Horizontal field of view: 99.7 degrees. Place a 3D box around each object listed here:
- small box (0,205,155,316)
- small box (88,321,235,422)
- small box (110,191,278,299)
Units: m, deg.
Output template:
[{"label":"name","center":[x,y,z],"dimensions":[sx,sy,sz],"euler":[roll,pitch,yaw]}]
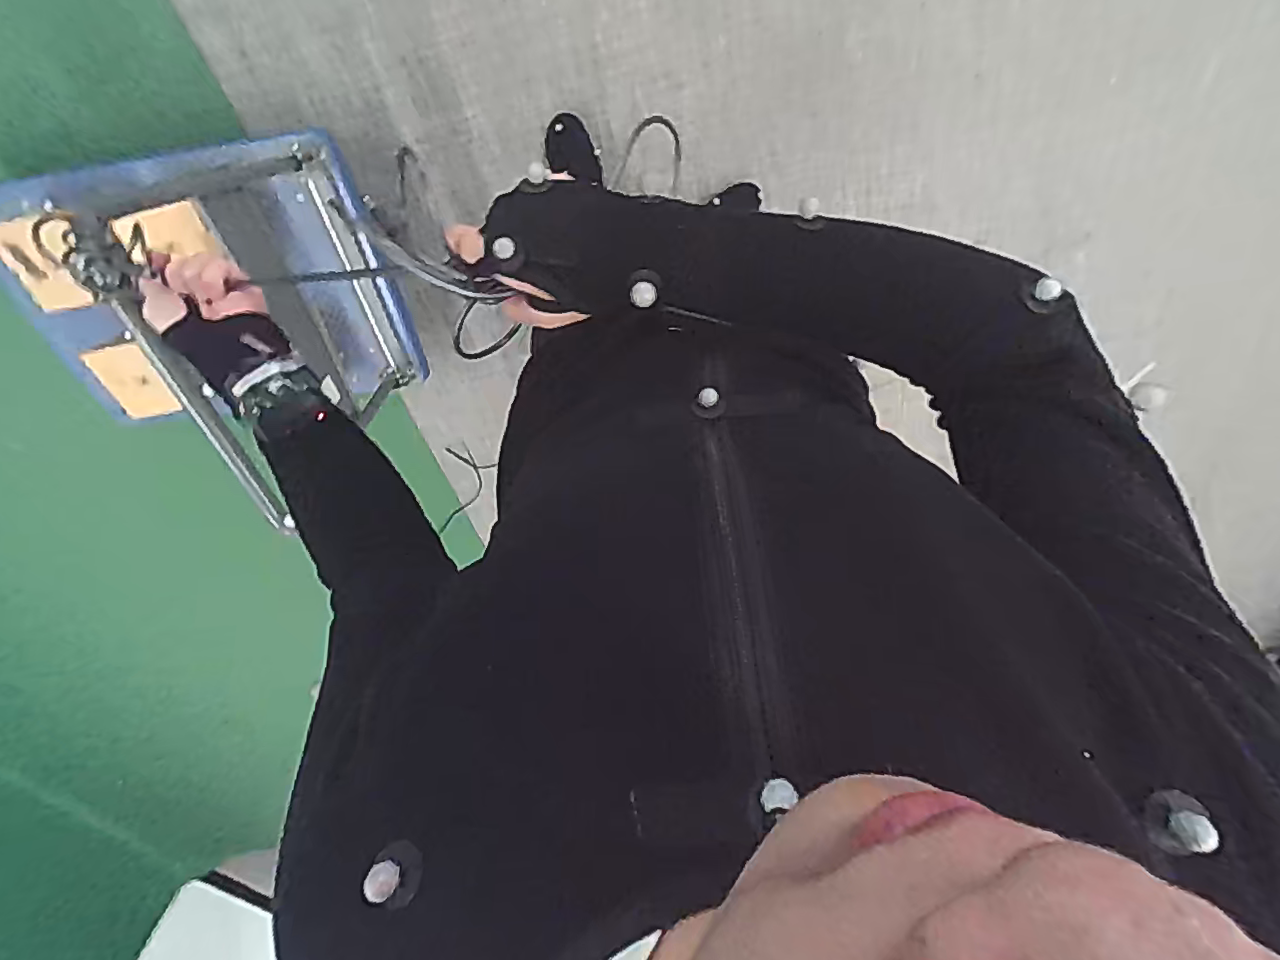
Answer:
[{"label":"small box","center":[-1.157,-0.465,1.139],"dimensions":[0.179,0.176,0.168],"euler":[-9,127,4]},{"label":"small box","center":[-1.120,-0.263,1.291],"dimensions":[0.179,0.176,0.168],"euler":[-10,125,6]},{"label":"small box","center":[-0.912,-0.493,1.128],"dimensions":[0.179,0.176,0.168],"euler":[-6,127,2]}]
